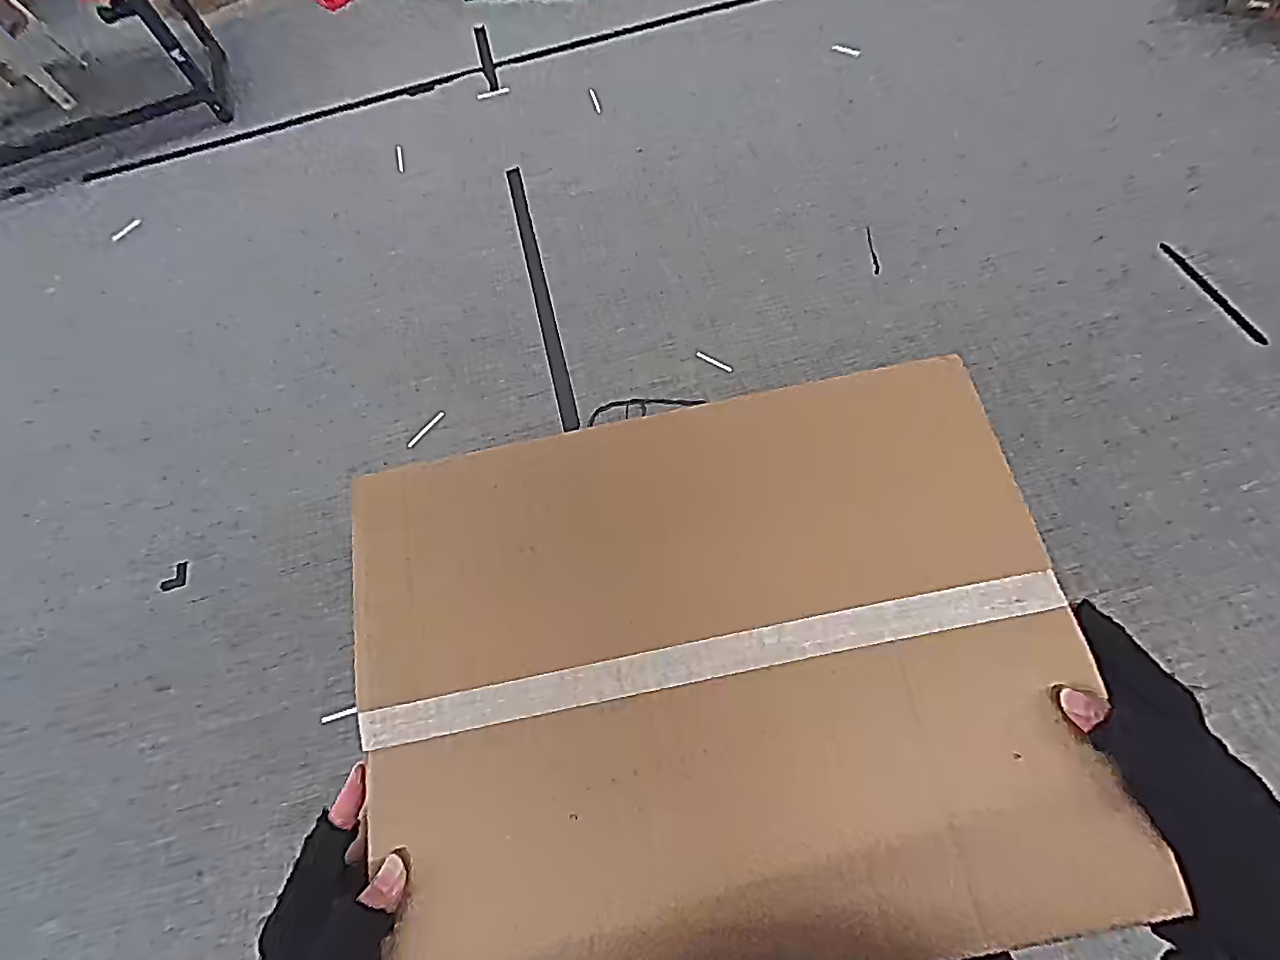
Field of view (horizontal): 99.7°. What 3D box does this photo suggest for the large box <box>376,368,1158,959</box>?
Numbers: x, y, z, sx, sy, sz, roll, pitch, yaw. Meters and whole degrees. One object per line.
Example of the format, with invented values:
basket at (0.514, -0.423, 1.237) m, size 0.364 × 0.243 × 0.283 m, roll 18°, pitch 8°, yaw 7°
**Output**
large box at (0.052, 0.153, 0.463) m, size 0.408 × 0.320 × 0.320 m, roll -12°, pitch 73°, yaw 1°
